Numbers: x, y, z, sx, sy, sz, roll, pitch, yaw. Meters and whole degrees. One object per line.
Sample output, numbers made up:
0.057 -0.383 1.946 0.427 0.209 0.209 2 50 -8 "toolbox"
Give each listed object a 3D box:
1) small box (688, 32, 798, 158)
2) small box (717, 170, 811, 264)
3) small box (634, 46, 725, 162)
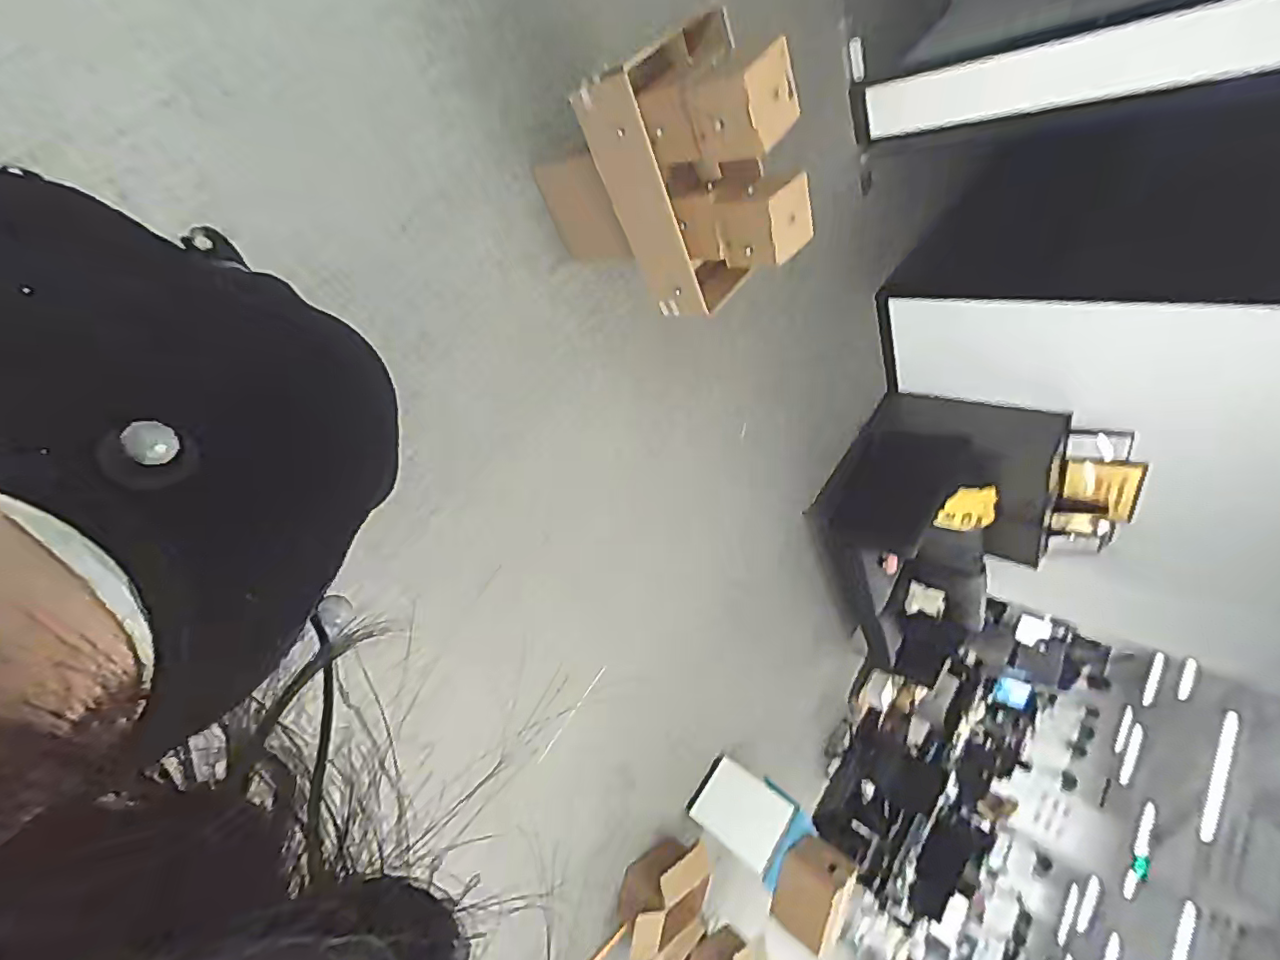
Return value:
0.228 -0.859 1.223 0.179 0.176 0.168 -52 136 -19 "small box"
0.315 -0.673 1.395 0.179 0.176 0.168 -45 134 -25 "small box"
0.117 -0.917 1.330 0.179 0.176 0.168 -52 135 -19 "small box"
